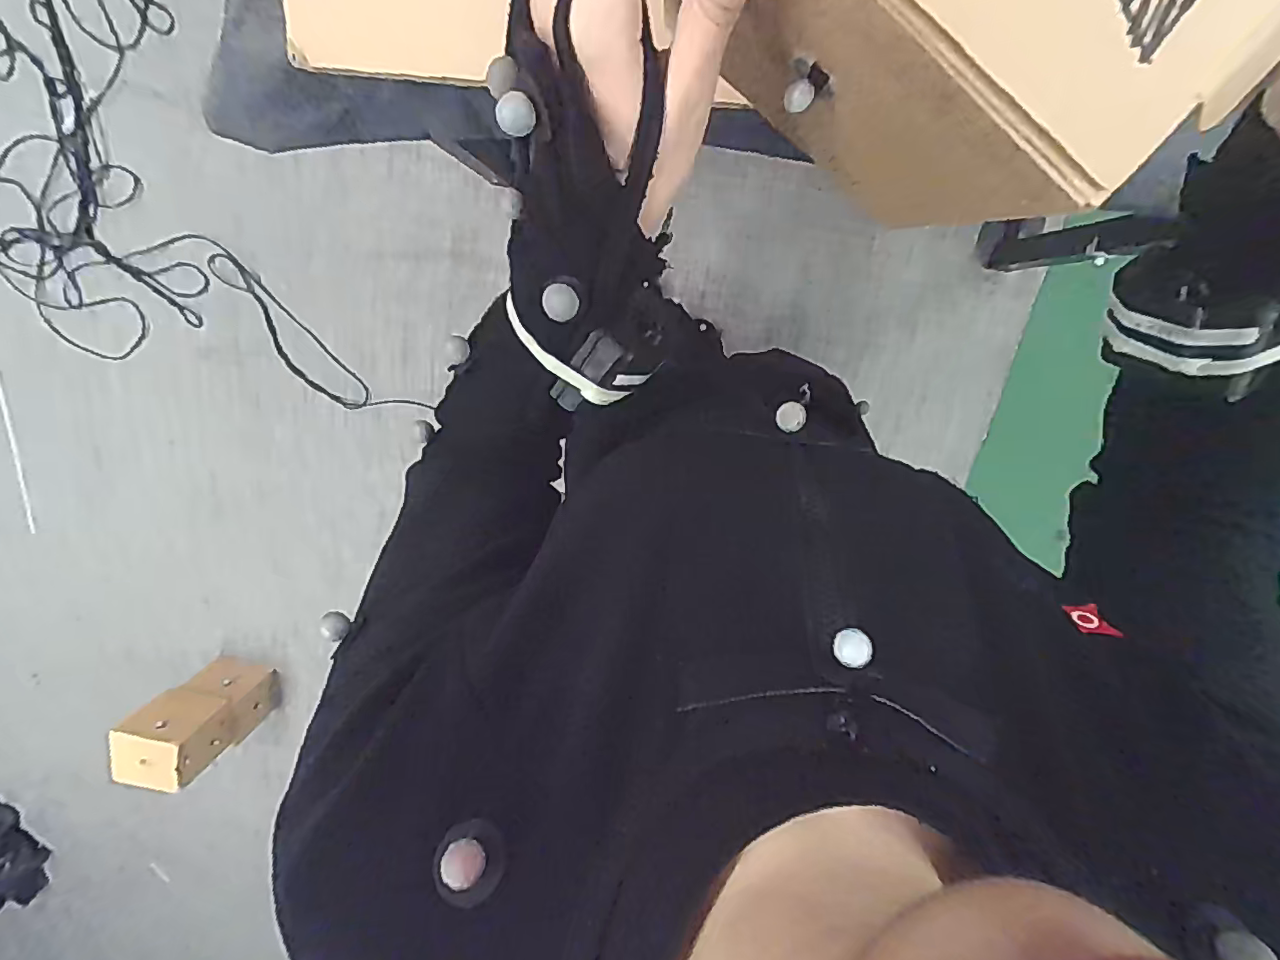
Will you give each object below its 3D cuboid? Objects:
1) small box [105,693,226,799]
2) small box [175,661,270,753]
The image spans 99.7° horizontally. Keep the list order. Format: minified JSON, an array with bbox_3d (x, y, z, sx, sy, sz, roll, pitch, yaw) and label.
[{"bbox_3d":[-1.241,0.691,1.423,0.179,0.176,0.168,13,107,-1],"label":"small box"},{"bbox_3d":[-1.222,0.658,1.583,0.179,0.176,0.168,13,107,-2],"label":"small box"}]
